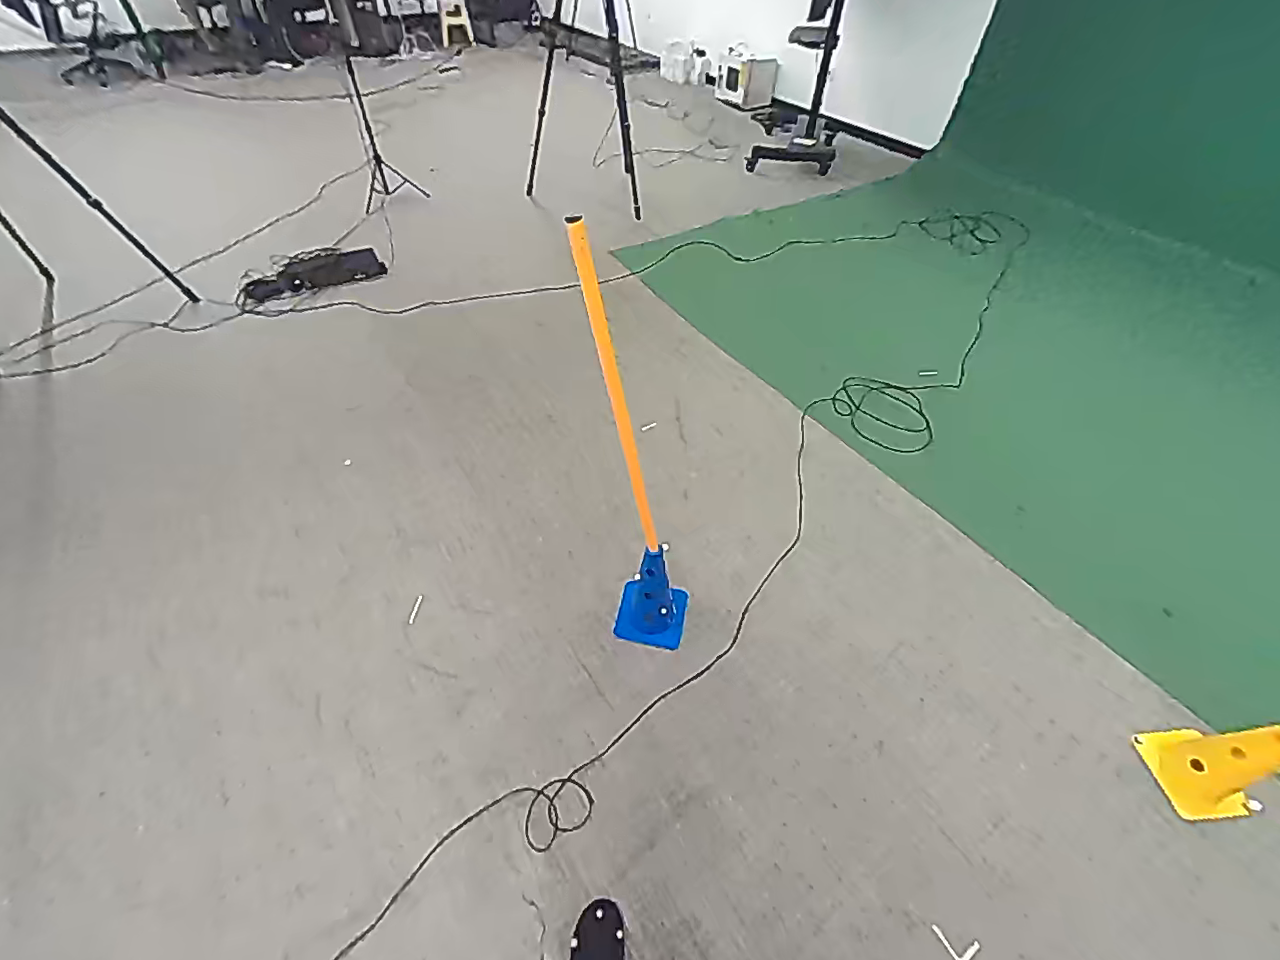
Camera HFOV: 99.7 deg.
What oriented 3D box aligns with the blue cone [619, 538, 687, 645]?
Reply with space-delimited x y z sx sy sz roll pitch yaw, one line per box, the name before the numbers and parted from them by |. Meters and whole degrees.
blue cone | 0.038 0.289 1.495 0.193 0.380 0.192 7 49 7
